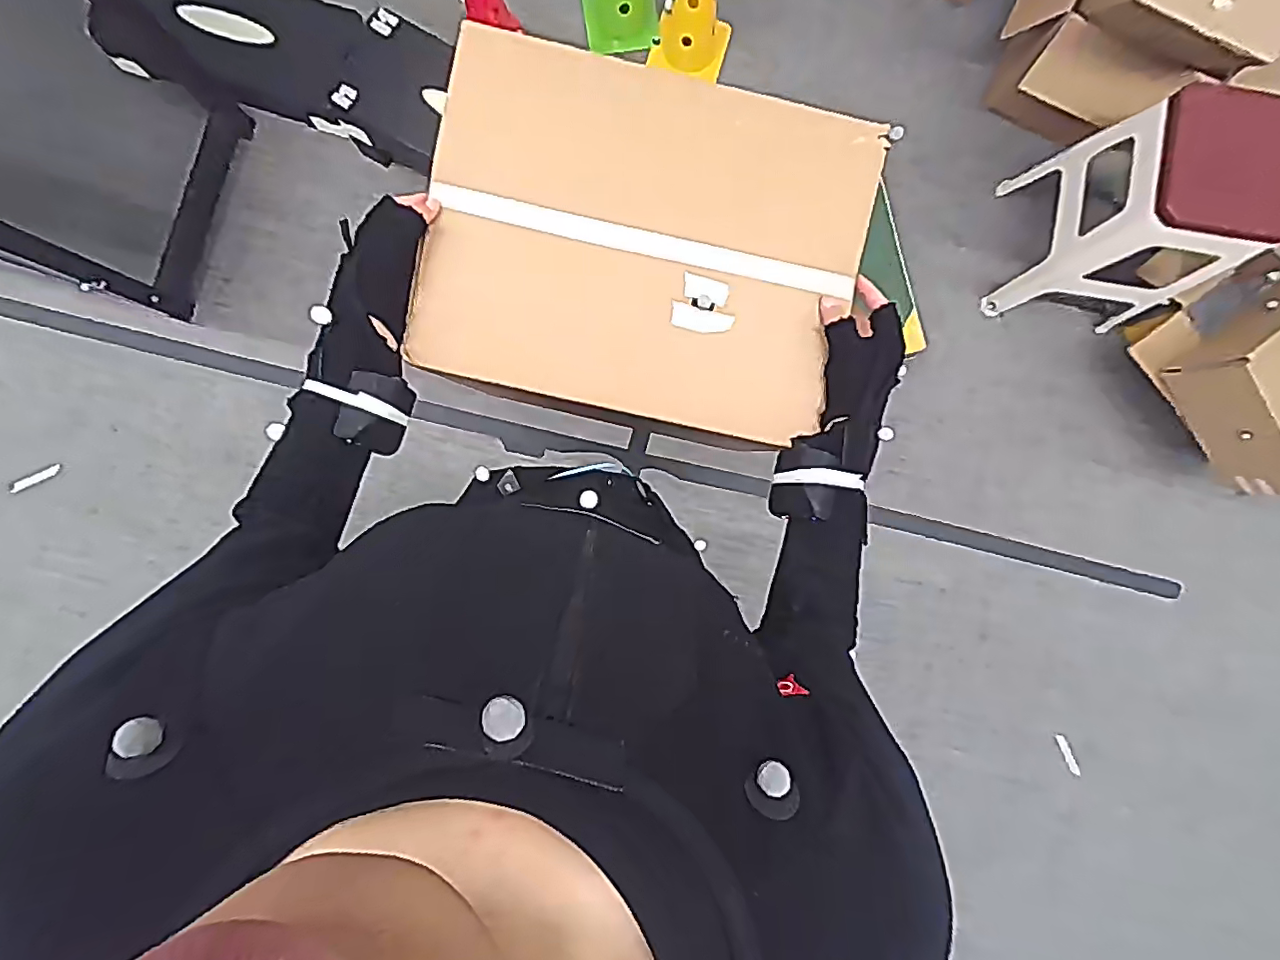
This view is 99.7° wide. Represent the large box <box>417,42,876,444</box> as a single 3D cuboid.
[{"bbox_3d":[0.000,-0.235,0.671,0.408,0.320,0.320,12,94,-3],"label":"large box"}]
